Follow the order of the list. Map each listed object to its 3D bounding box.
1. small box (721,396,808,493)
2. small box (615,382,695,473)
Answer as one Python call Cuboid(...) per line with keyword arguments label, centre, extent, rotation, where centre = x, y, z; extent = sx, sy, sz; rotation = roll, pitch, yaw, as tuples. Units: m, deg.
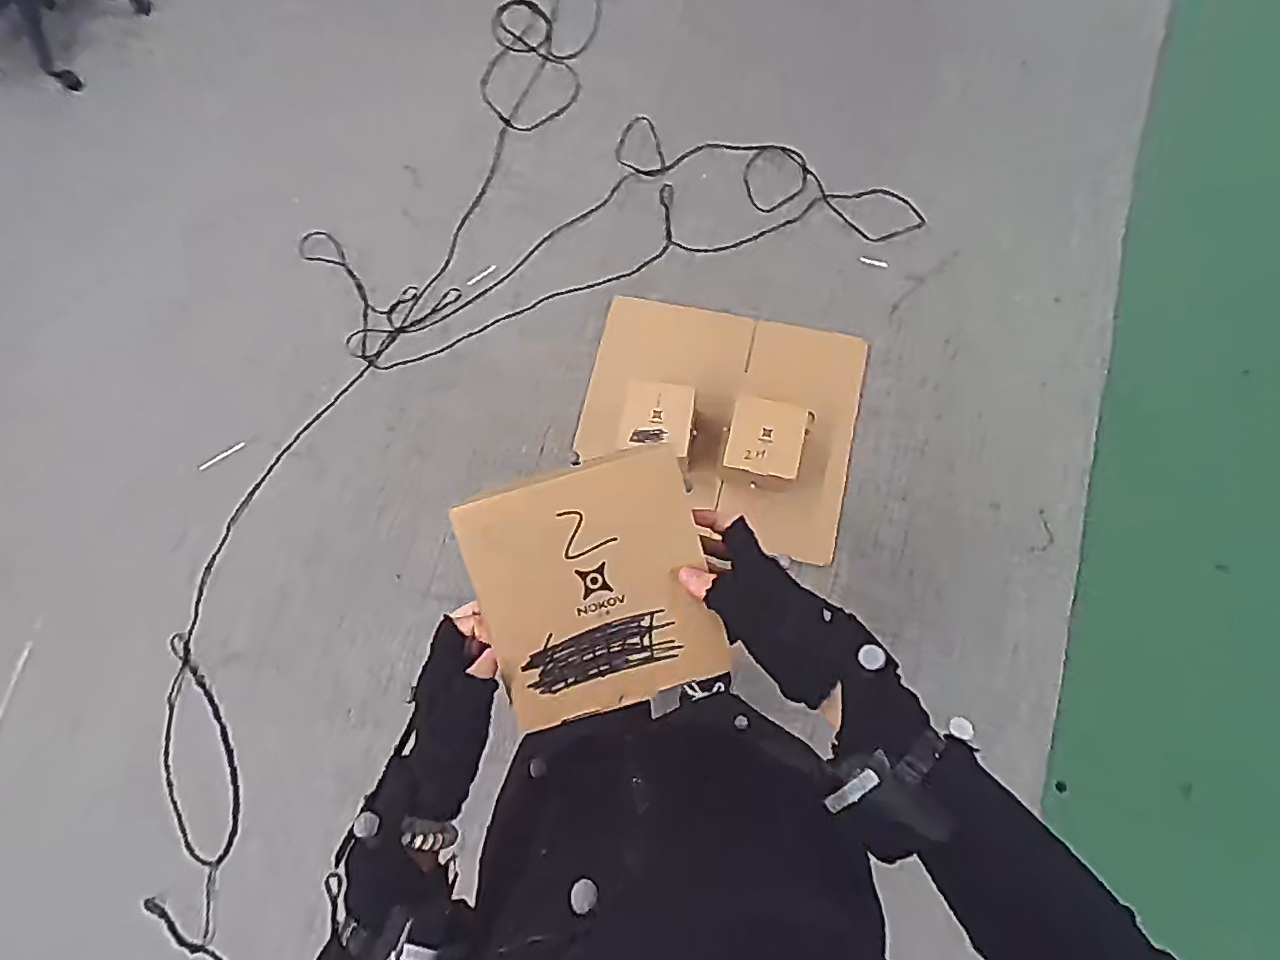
Cuboid(label="small box", centre=(0.290, -0.079, 1.296), extent=(0.168, 0.176, 0.179), rotation=(12, 80, 9))
Cuboid(label="small box", centre=(0.043, -0.122, 1.325), extent=(0.168, 0.176, 0.179), rotation=(7, 79, 7))
